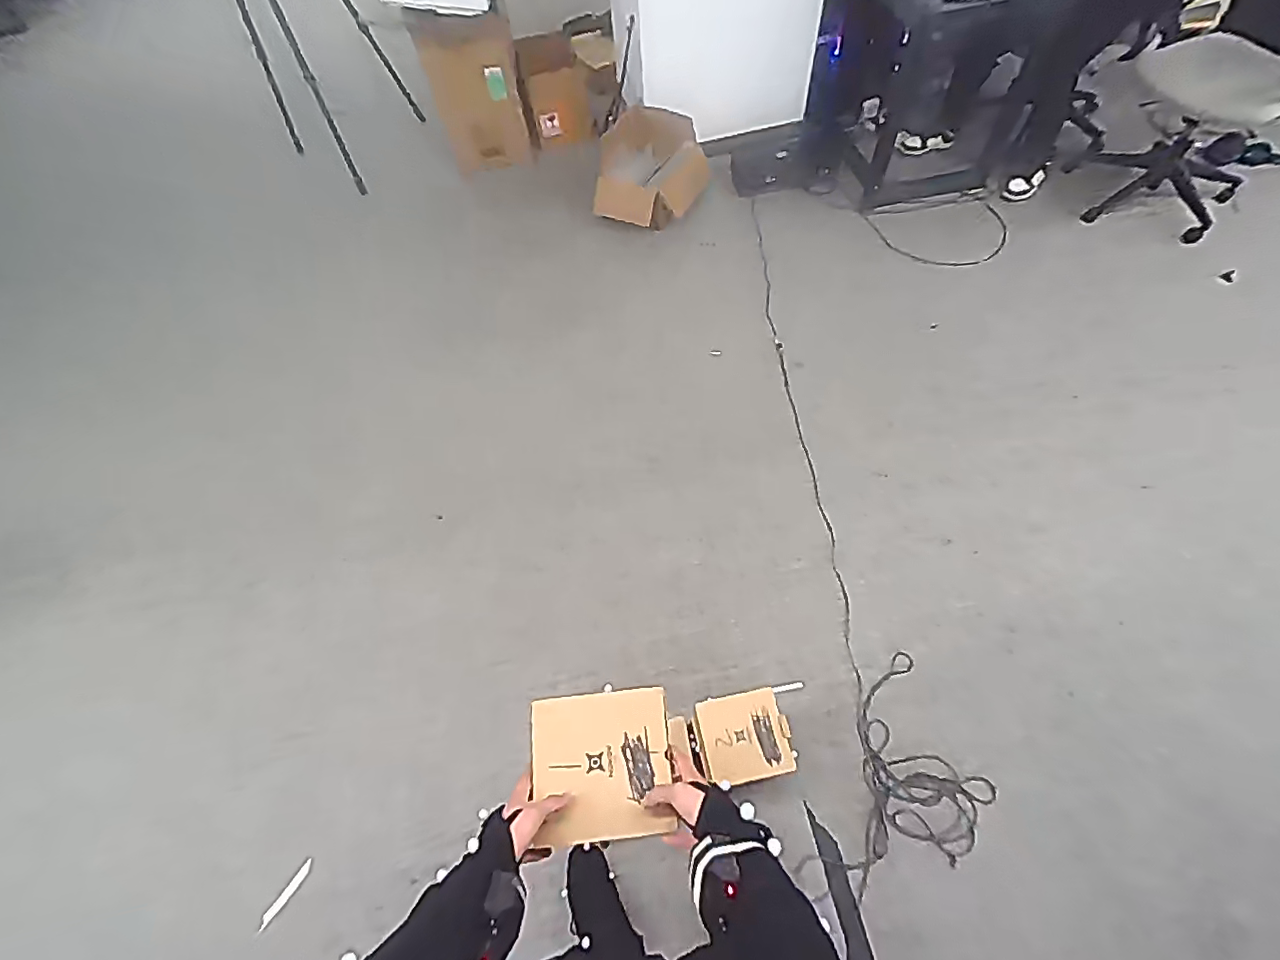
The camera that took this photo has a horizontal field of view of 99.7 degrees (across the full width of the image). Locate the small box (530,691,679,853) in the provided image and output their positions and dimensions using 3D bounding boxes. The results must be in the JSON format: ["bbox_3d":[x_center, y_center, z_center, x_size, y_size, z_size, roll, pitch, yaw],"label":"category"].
[{"bbox_3d":[-0.047,0.389,0.735,0.179,0.176,0.168,-6,63,-1],"label":"small box"}]
